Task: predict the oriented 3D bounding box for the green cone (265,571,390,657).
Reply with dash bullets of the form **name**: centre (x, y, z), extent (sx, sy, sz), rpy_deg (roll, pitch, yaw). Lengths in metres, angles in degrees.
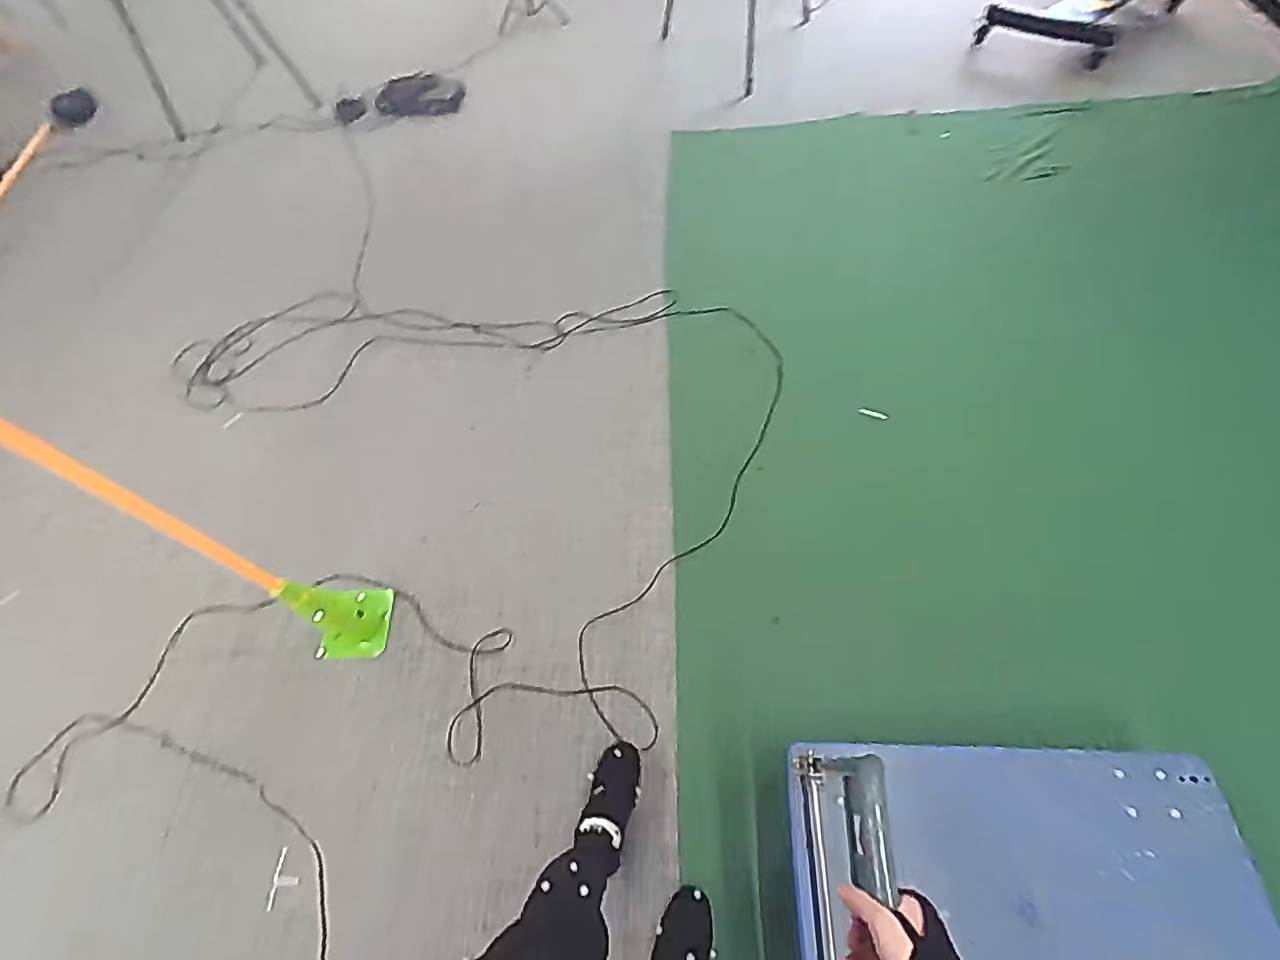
- **green cone**: centre (-0.869, 0.334, 1.459), extent (0.200, 0.368, 0.202), rpy_deg (-5, 59, 3)
